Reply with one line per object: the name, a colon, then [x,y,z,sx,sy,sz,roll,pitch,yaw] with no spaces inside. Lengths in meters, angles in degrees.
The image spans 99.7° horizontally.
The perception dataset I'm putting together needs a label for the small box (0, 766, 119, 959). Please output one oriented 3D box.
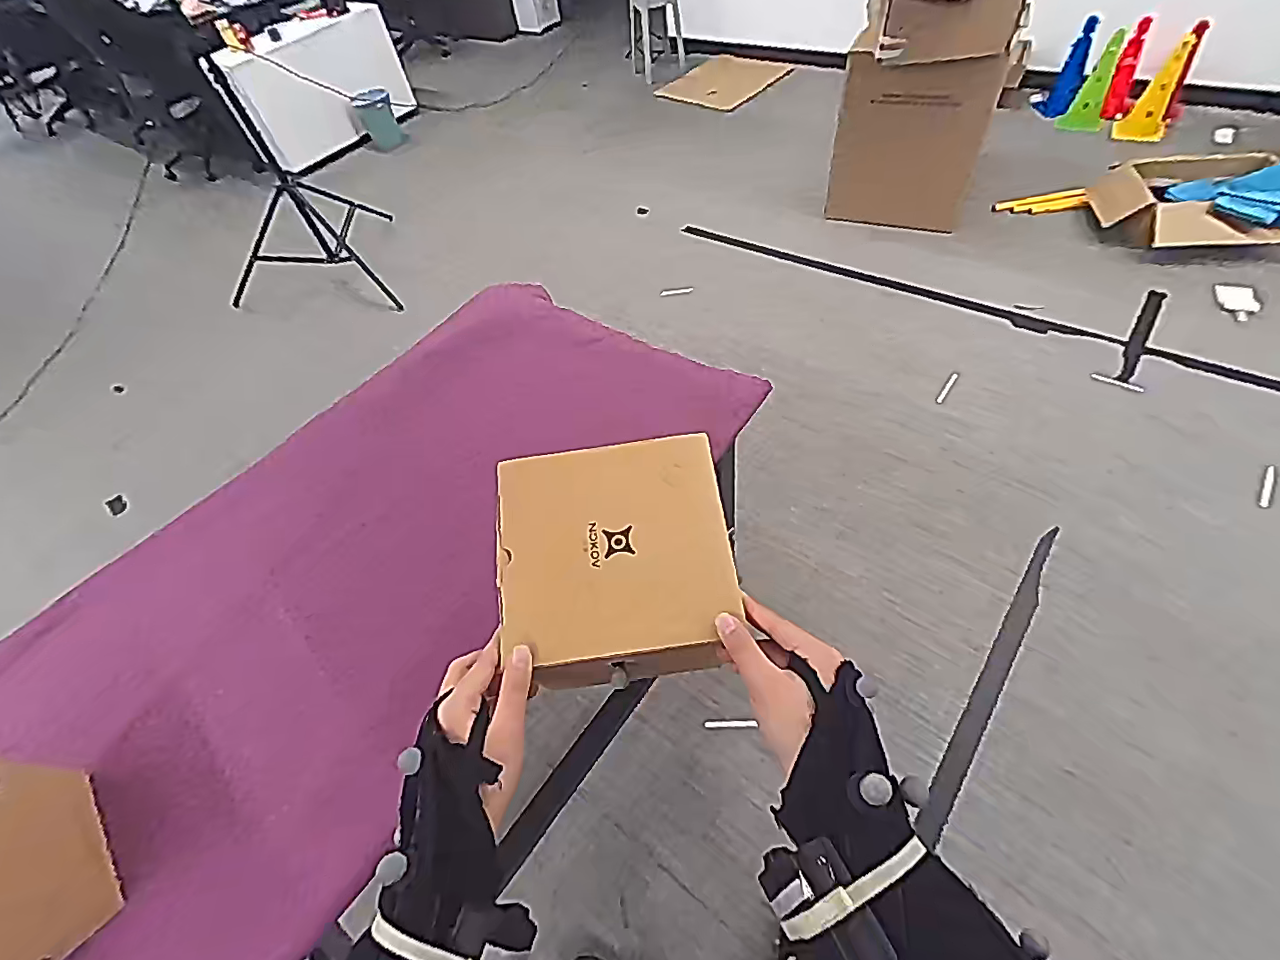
small box: [-0.649,0.393,0.497,0.179,0.176,0.168,36,66,29]
